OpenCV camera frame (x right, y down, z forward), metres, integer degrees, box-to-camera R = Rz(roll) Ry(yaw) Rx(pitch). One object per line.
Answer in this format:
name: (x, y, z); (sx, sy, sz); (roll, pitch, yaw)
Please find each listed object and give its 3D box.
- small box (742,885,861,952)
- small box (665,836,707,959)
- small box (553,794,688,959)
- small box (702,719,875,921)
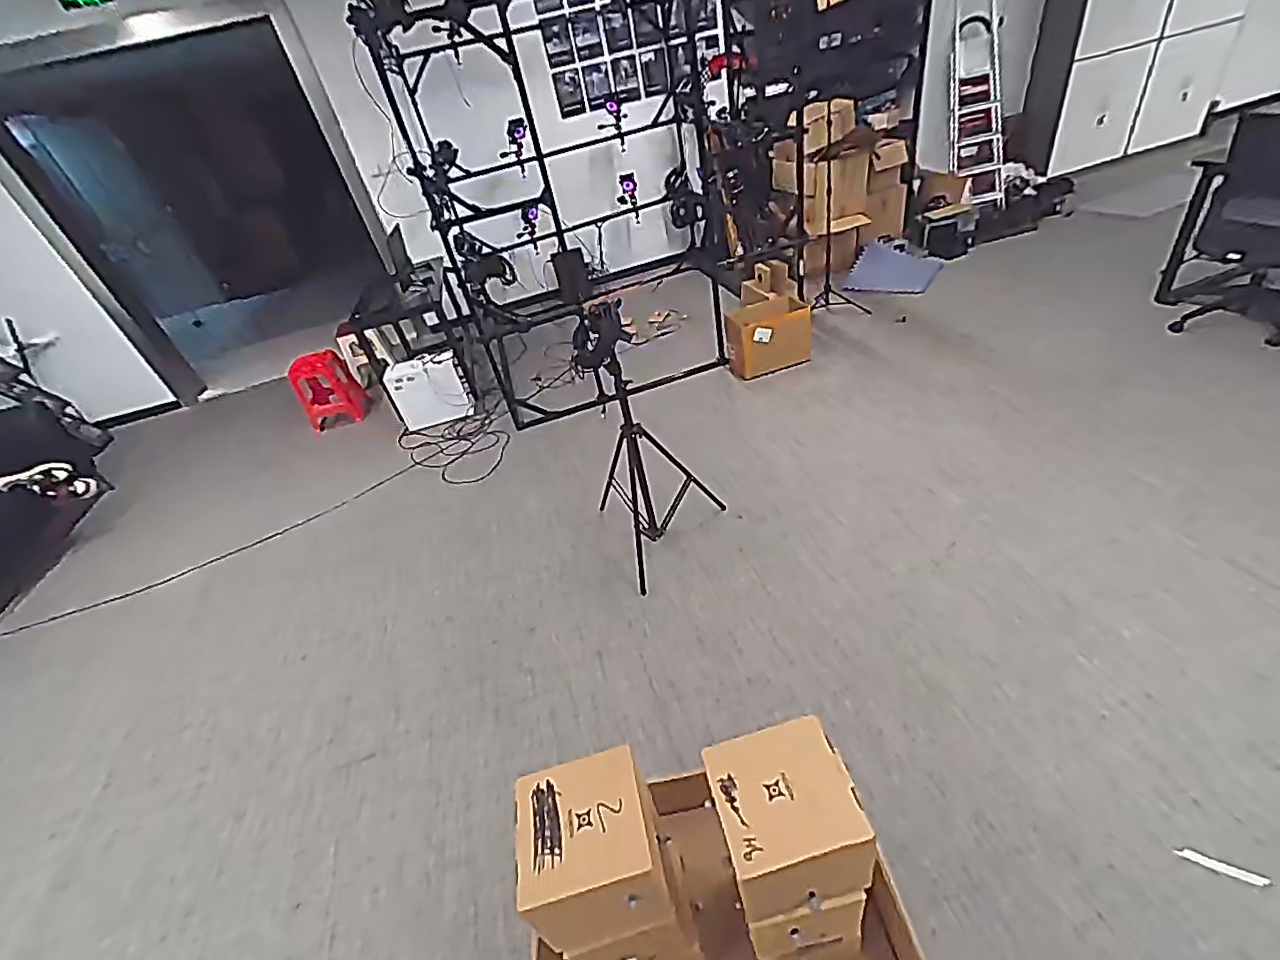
small box: (0.228, 0.602, 0.846); (0.168, 0.176, 0.179); (-14, 36, -1)
small box: (0.008, 0.776, 0.960); (0.179, 0.176, 0.168); (-14, 37, -2)
small box: (-0.032, 0.649, 0.863); (0.168, 0.176, 0.179); (-18, 36, -3)
small box: (0.198, 0.471, 0.751); (0.179, 0.176, 0.168); (-15, 35, -3)
